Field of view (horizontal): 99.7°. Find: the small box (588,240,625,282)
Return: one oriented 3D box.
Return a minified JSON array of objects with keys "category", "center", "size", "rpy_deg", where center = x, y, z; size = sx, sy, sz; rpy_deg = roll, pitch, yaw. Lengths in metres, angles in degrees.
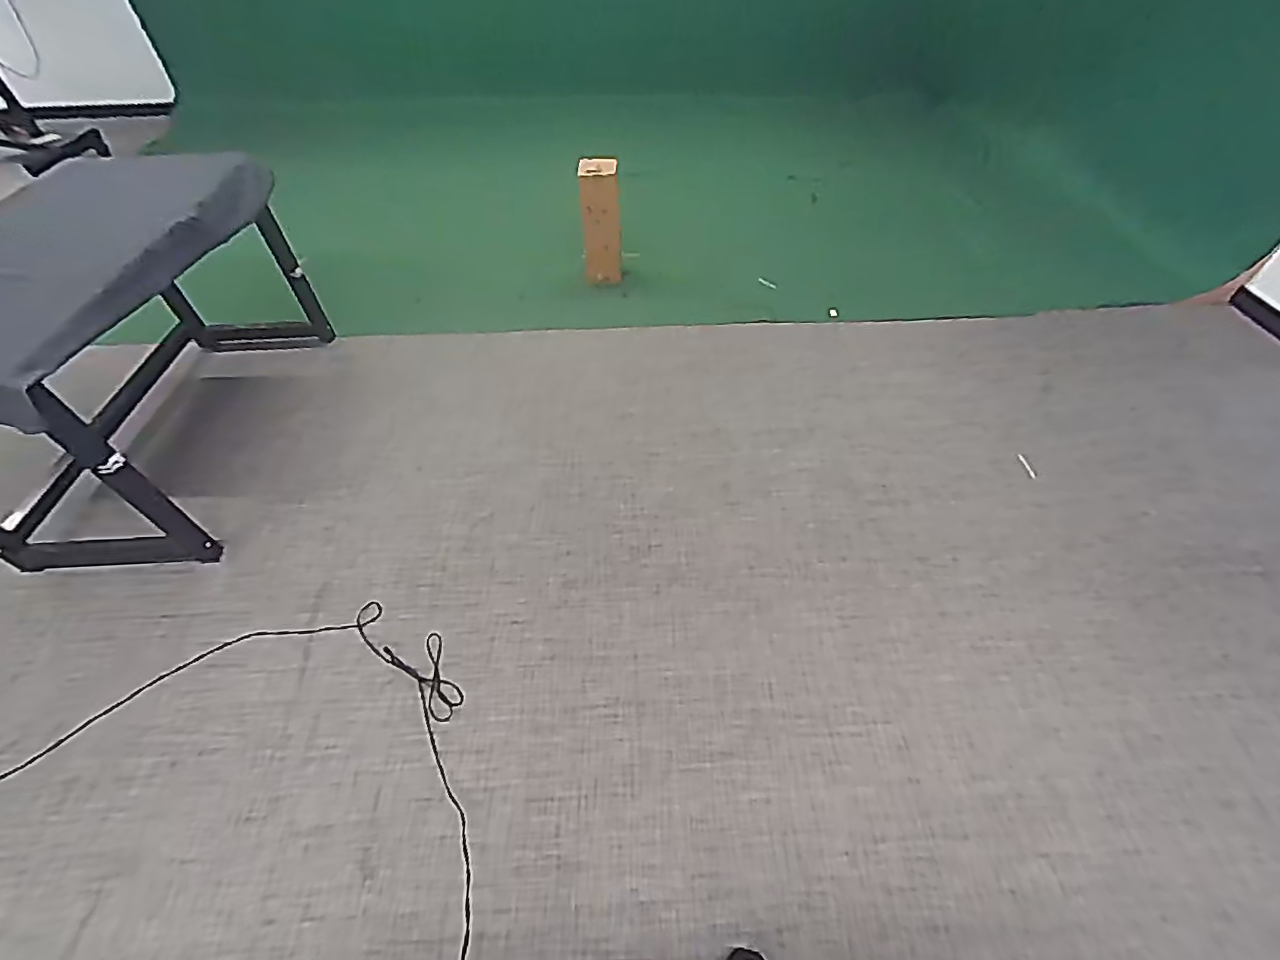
[{"category":"small box","center":[-0.162,-1.093,2.654],"size":[0.168,0.176,0.179],"rpy_deg":[-1,52,1]}]

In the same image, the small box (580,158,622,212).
[{"category":"small box","center":[-0.170,-1.311,2.408],"size":[0.168,0.176,0.179],"rpy_deg":[0,49,1]}]

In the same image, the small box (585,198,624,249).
[{"category":"small box","center":[-0.163,-1.201,2.531],"size":[0.168,0.176,0.179],"rpy_deg":[0,49,2]}]
